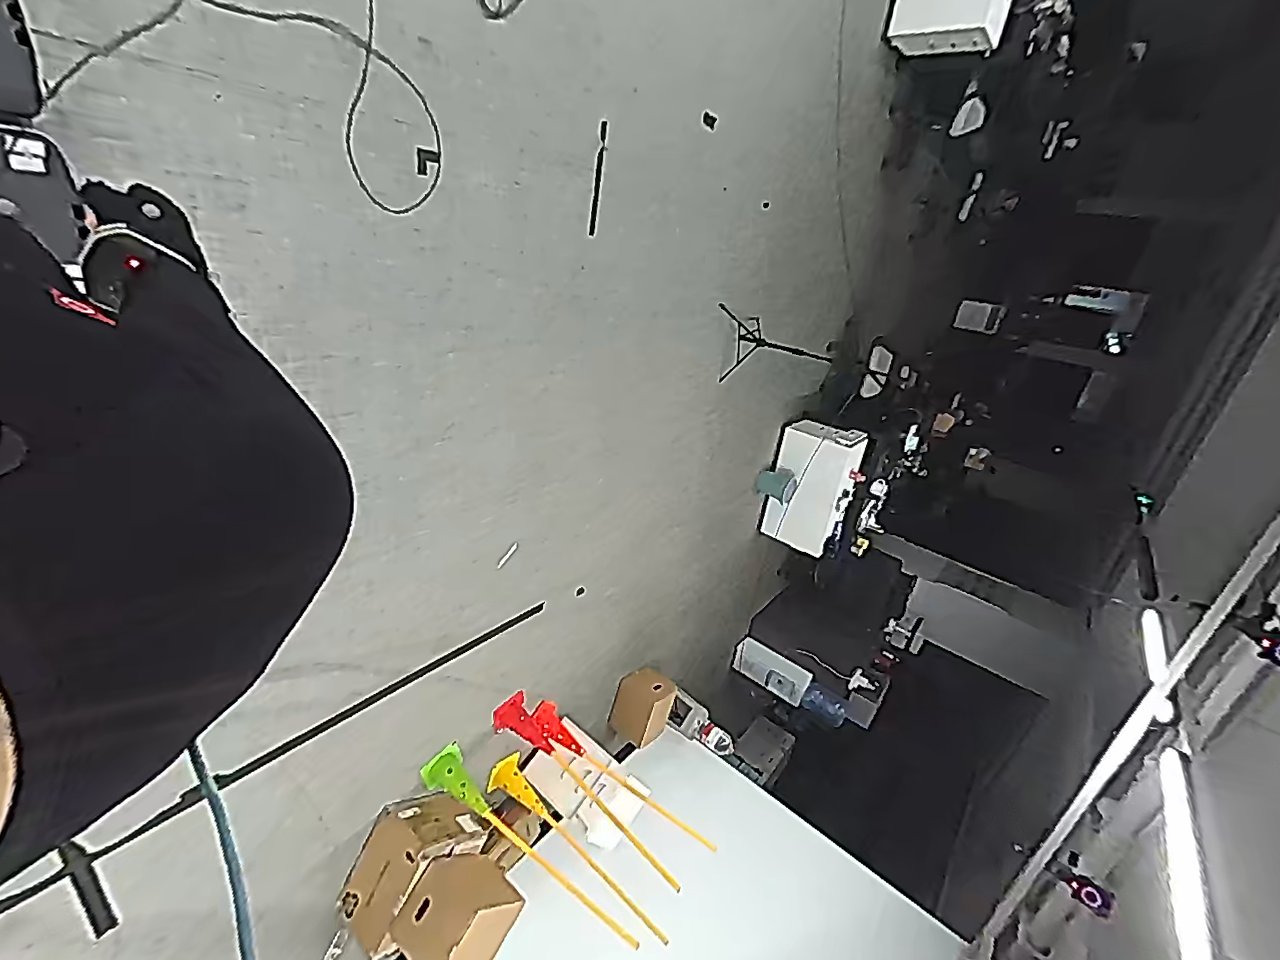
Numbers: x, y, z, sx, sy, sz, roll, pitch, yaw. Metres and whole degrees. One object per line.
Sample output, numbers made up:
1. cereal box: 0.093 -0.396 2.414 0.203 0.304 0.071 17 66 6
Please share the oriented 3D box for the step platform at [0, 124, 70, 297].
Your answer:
1. step platform: -1.332 -0.419 0.788 0.684 0.204 0.286 -22 128 -46
